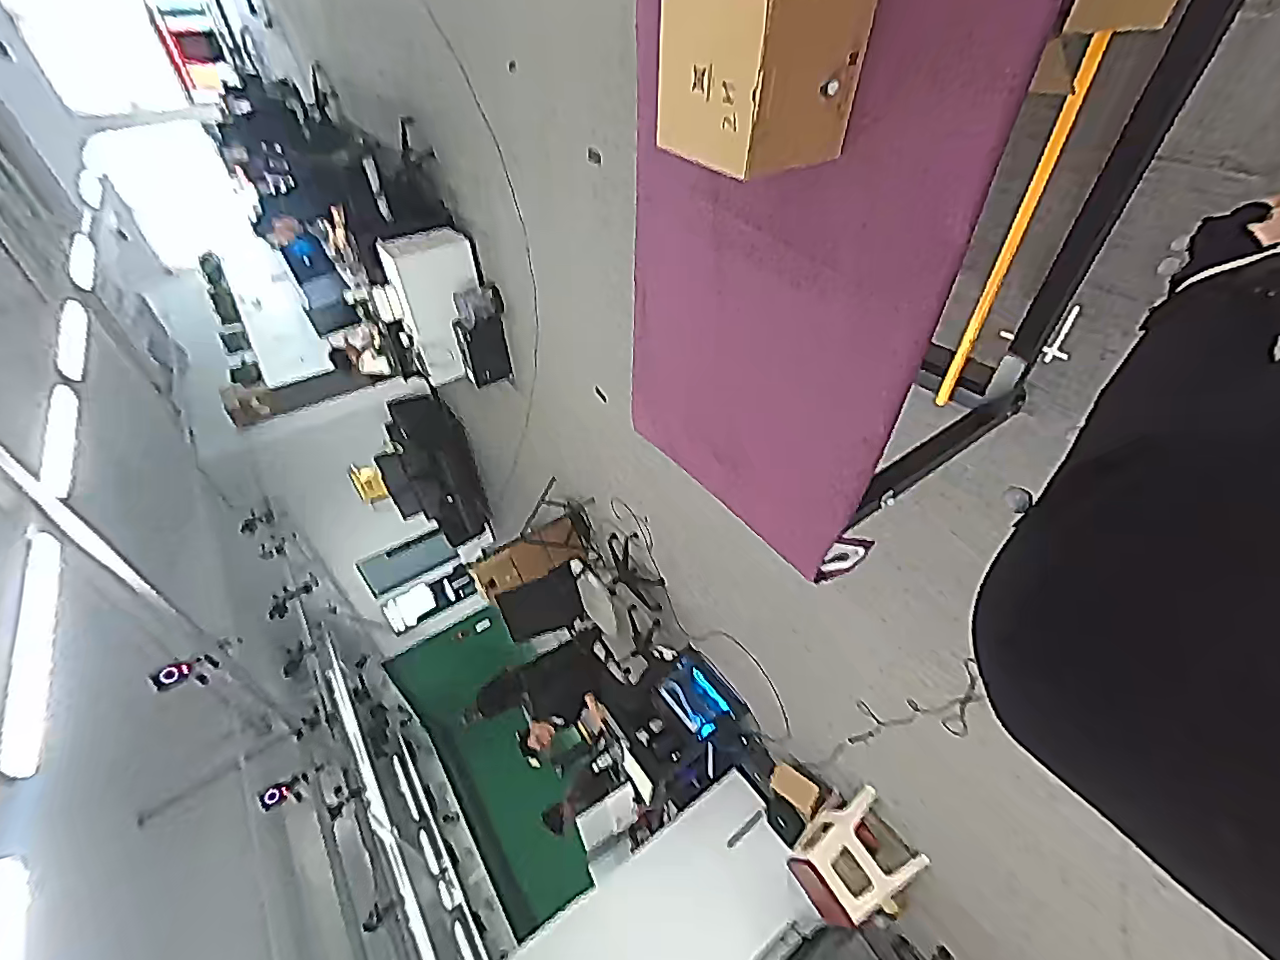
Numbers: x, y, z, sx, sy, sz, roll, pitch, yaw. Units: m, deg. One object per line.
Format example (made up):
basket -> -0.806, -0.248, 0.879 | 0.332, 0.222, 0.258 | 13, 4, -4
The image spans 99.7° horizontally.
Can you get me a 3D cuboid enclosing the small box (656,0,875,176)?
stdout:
small box -> 0.138, -0.489, 0.646 | 0.179, 0.176, 0.168 | 45, 151, 34
